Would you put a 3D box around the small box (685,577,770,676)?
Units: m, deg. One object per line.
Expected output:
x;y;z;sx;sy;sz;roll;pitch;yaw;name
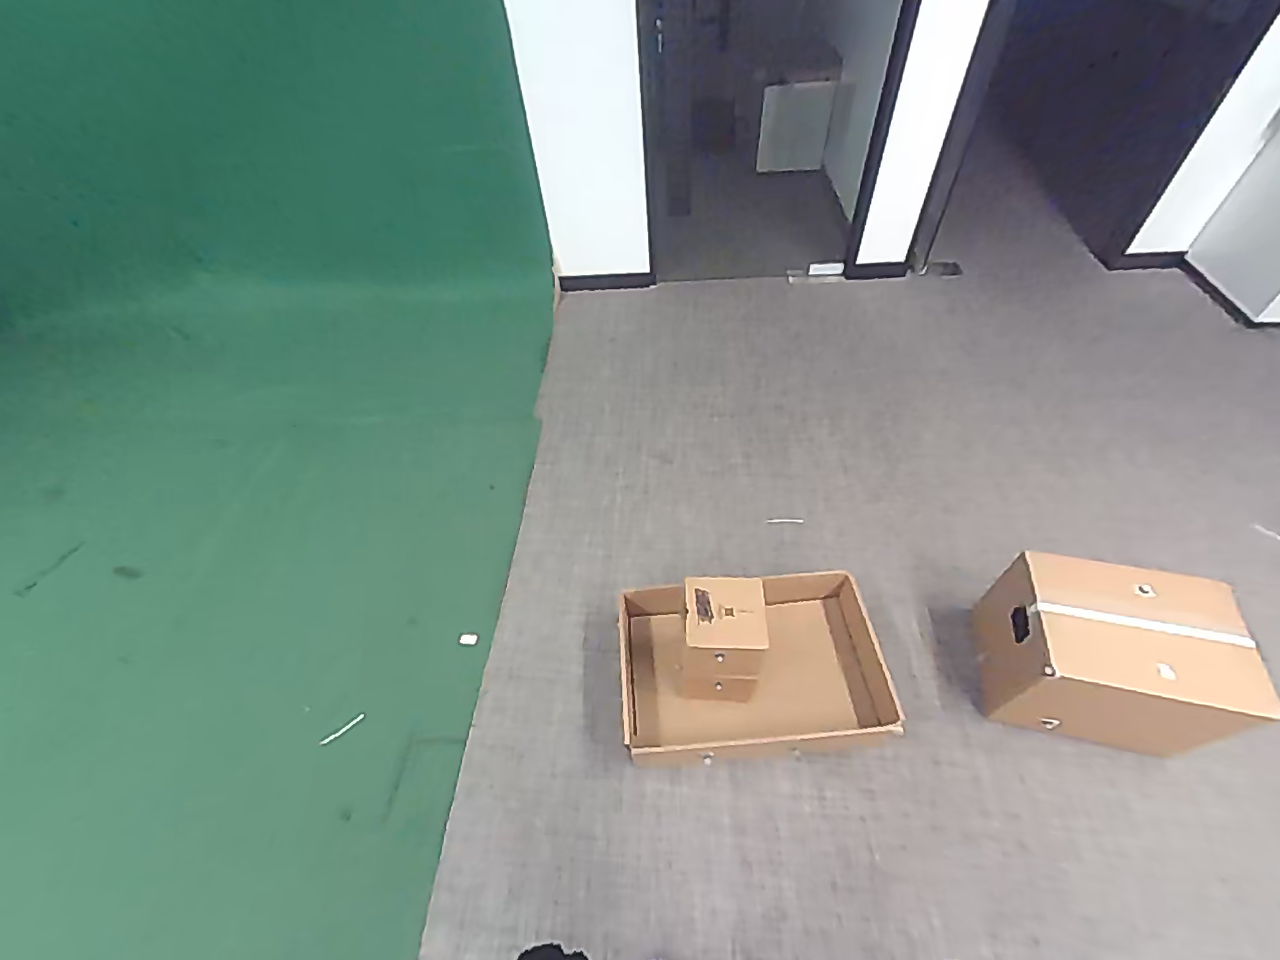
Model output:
0.191;0.337;1.233;0.179;0.176;0.168;1;51;3;small box

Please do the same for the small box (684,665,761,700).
0.201;0.443;1.359;0.179;0.176;0.168;2;51;3;small box
